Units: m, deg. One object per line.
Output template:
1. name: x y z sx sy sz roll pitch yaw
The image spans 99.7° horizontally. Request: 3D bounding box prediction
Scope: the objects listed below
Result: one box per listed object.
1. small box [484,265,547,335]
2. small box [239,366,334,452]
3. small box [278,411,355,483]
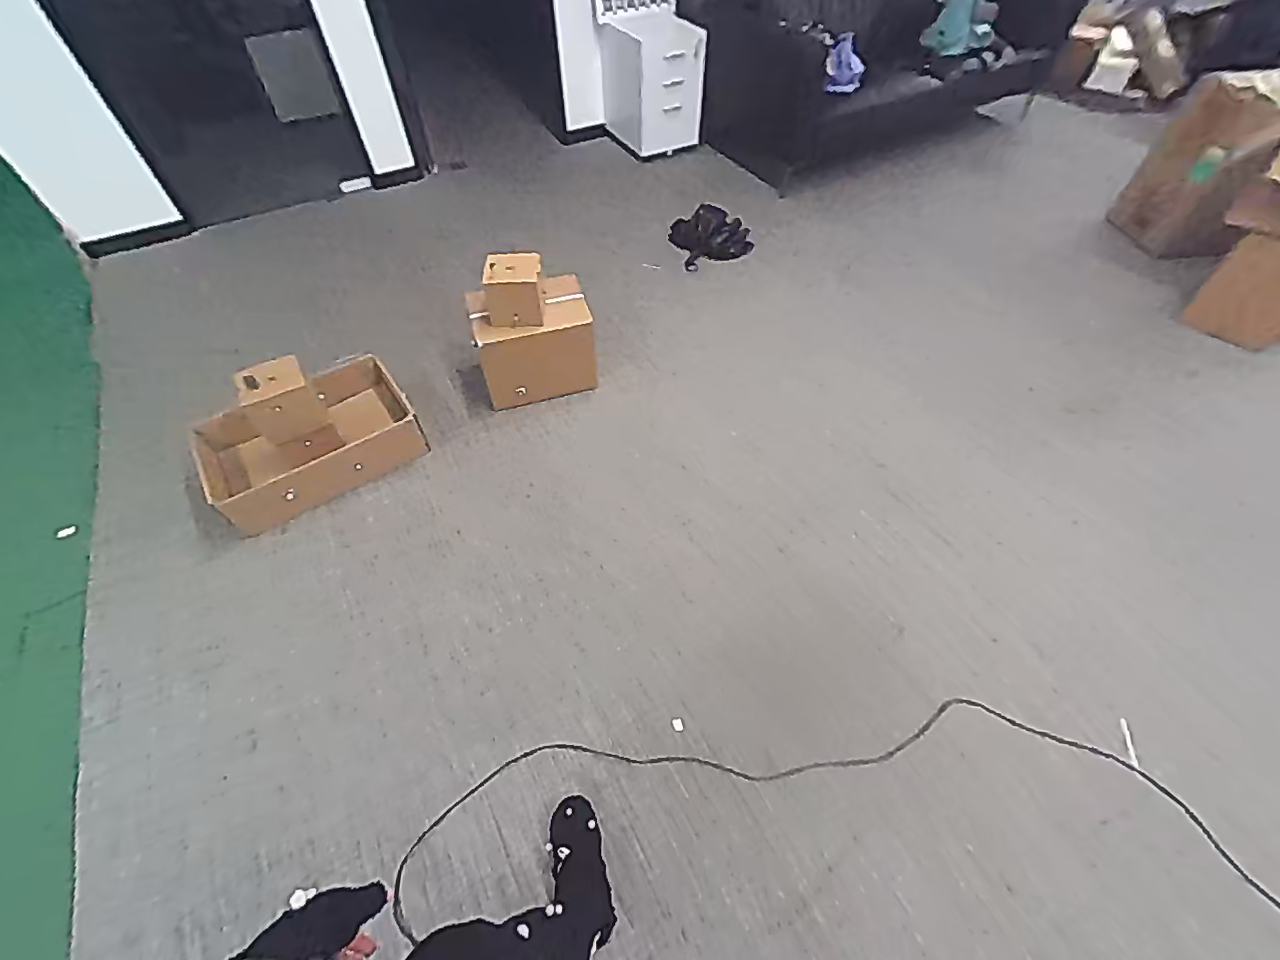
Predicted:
1. small box: -0.414 -0.605 1.828 0.179 0.176 0.168 -2 52 -2
2. small box: -1.077 -0.214 1.655 0.179 0.176 0.168 -26 56 -20
3. small box: -1.085 -0.120 1.790 0.179 0.176 0.168 -29 57 -22
